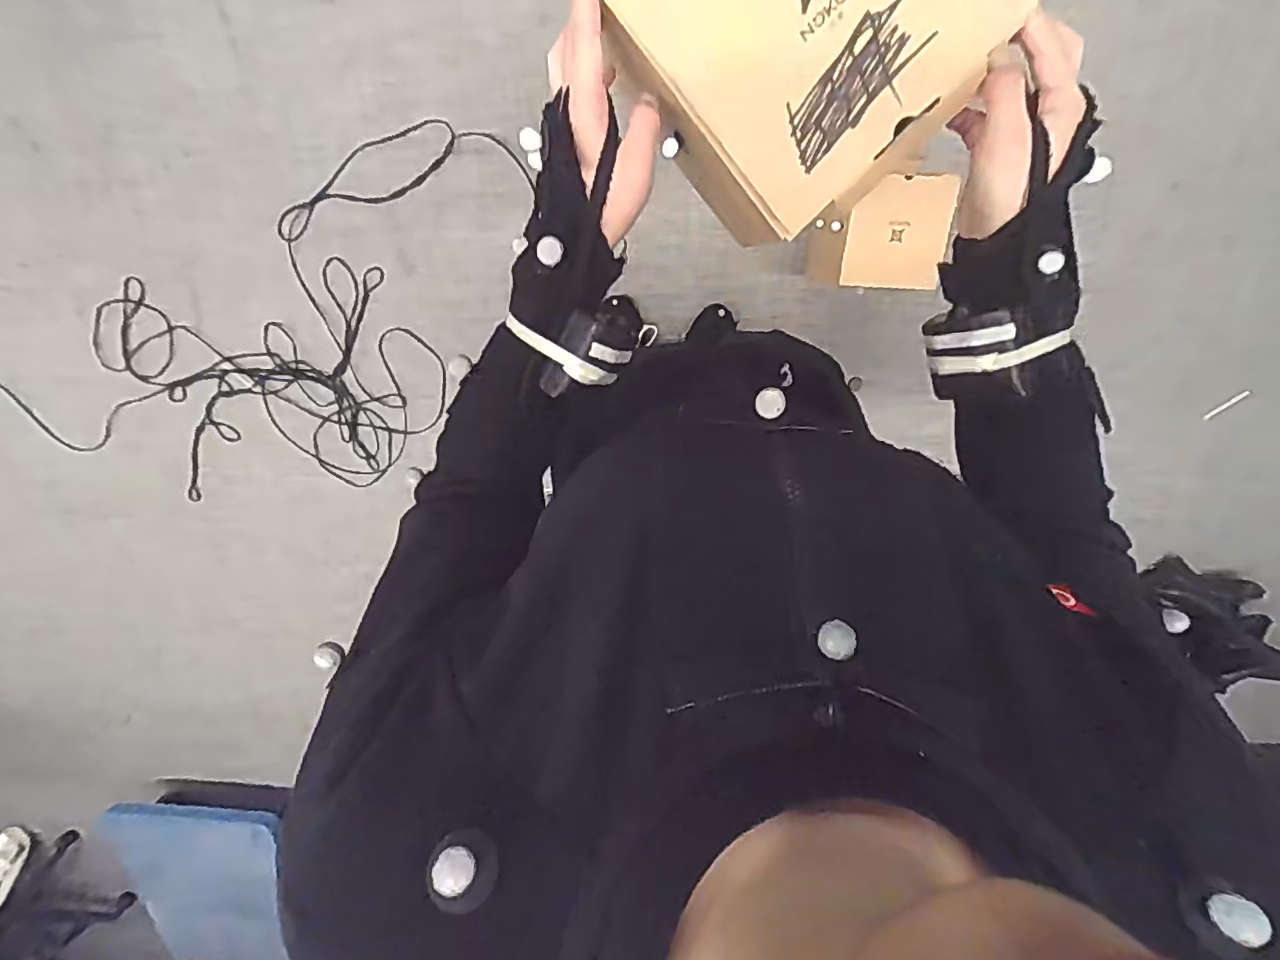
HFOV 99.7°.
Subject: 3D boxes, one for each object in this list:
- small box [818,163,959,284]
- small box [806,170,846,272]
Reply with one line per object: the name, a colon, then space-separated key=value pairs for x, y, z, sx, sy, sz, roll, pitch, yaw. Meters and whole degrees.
small box: x=0.426 y=-0.447 z=0.961 sx=0.168 sy=0.176 sz=0.179 roll=4 pitch=111 yaw=3
small box: x=0.449 y=-0.519 z=1.108 sx=0.168 sy=0.176 sz=0.179 roll=3 pitch=111 yaw=3
